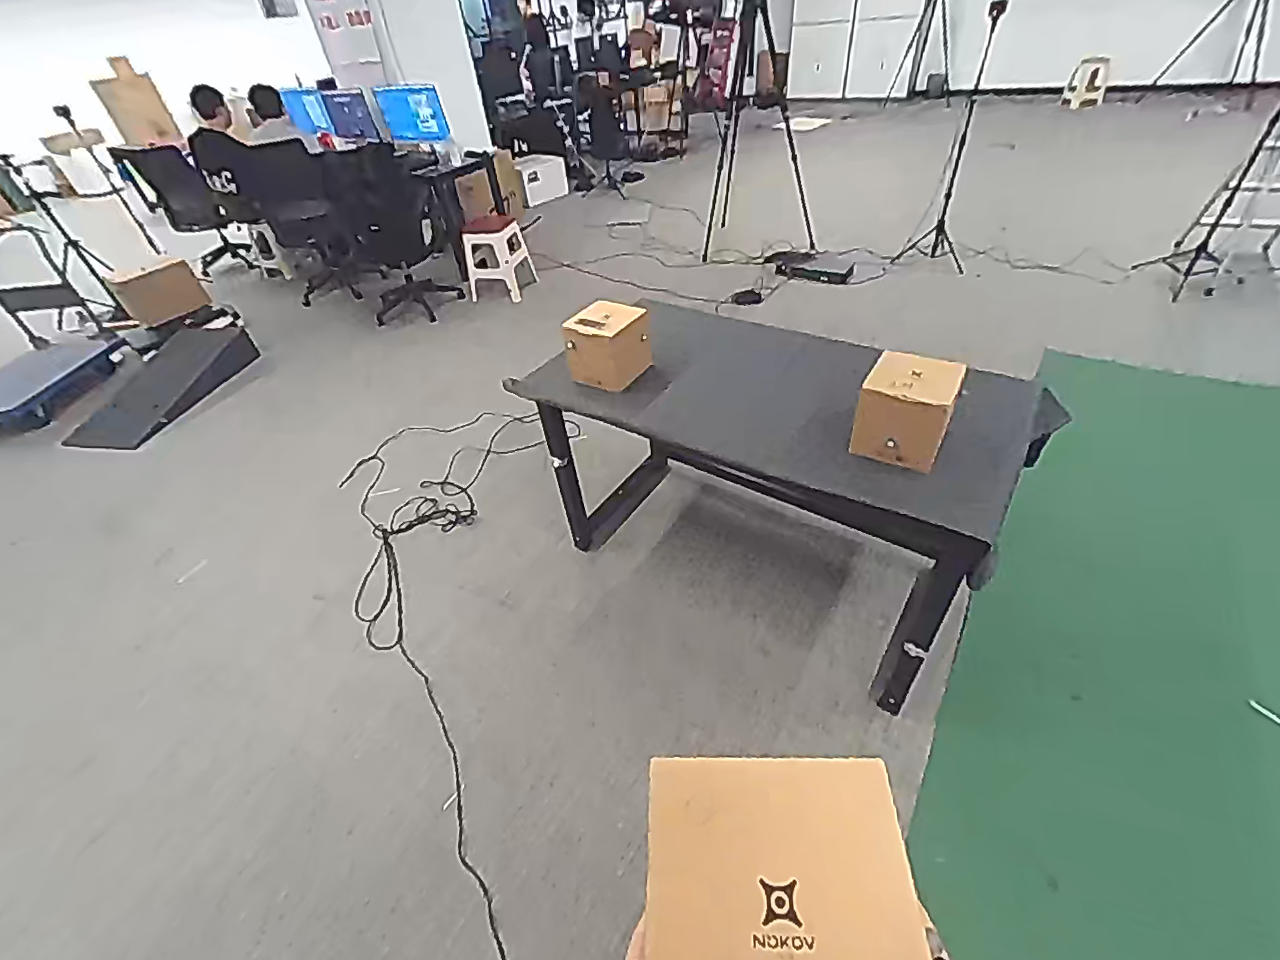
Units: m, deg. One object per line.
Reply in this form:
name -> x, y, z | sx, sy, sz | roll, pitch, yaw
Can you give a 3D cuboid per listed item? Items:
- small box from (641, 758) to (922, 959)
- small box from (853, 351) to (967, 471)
small box -> 0.091, 0.320, 0.390 | 0.168, 0.176, 0.179 | -4, 47, 6
small box -> 0.567, -0.148, 1.150 | 0.168, 0.176, 0.179 | 19, 48, 29
